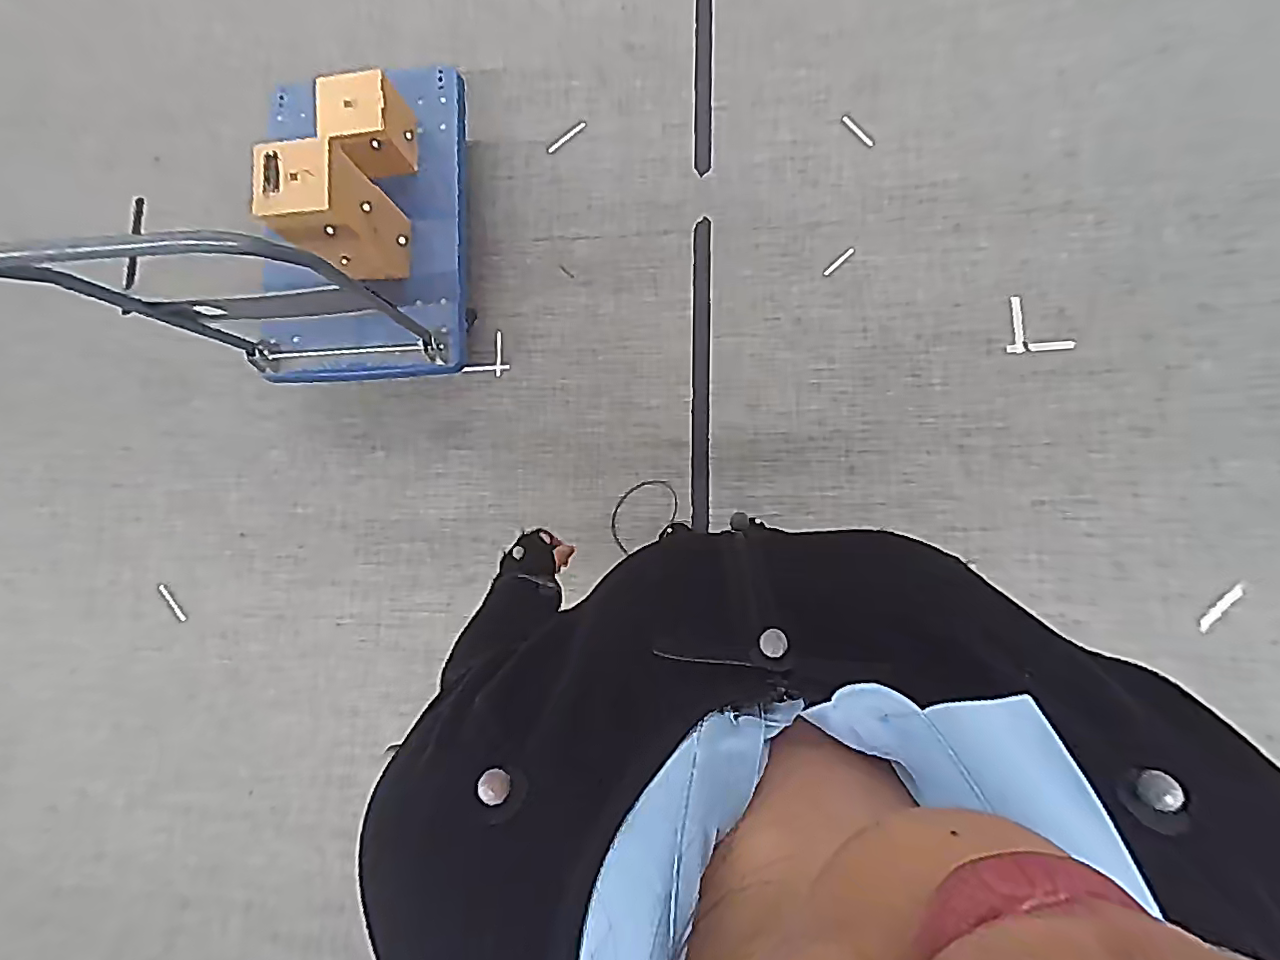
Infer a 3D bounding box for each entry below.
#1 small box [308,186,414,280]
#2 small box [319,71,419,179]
[{"bbox_3d":[-0.714,-0.628,1.394,0.179,0.176,0.168,2,86,5],"label":"small box"},{"bbox_3d":[-0.707,-0.922,1.421,0.179,0.176,0.168,-5,85,5],"label":"small box"}]
